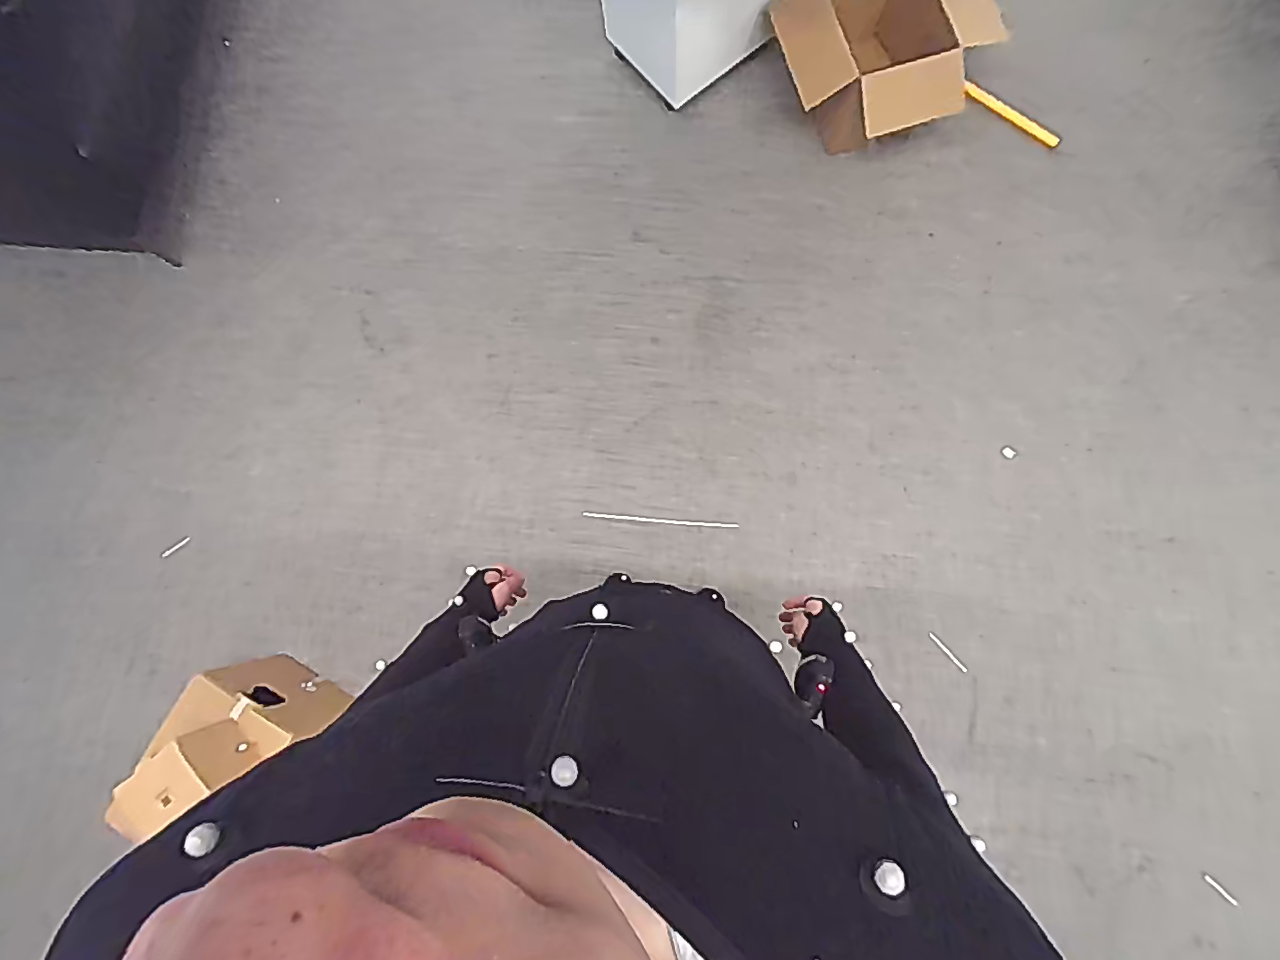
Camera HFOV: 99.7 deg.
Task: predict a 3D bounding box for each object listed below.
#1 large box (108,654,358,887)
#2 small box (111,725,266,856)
[{"bbox_3d":[-1.069,0.748,1.470,0.320,0.320,0.408,28,84,7],"label":"large box"},{"bbox_3d":[-1.012,0.686,1.228,0.168,0.176,0.179,-41,83,-4],"label":"small box"}]
